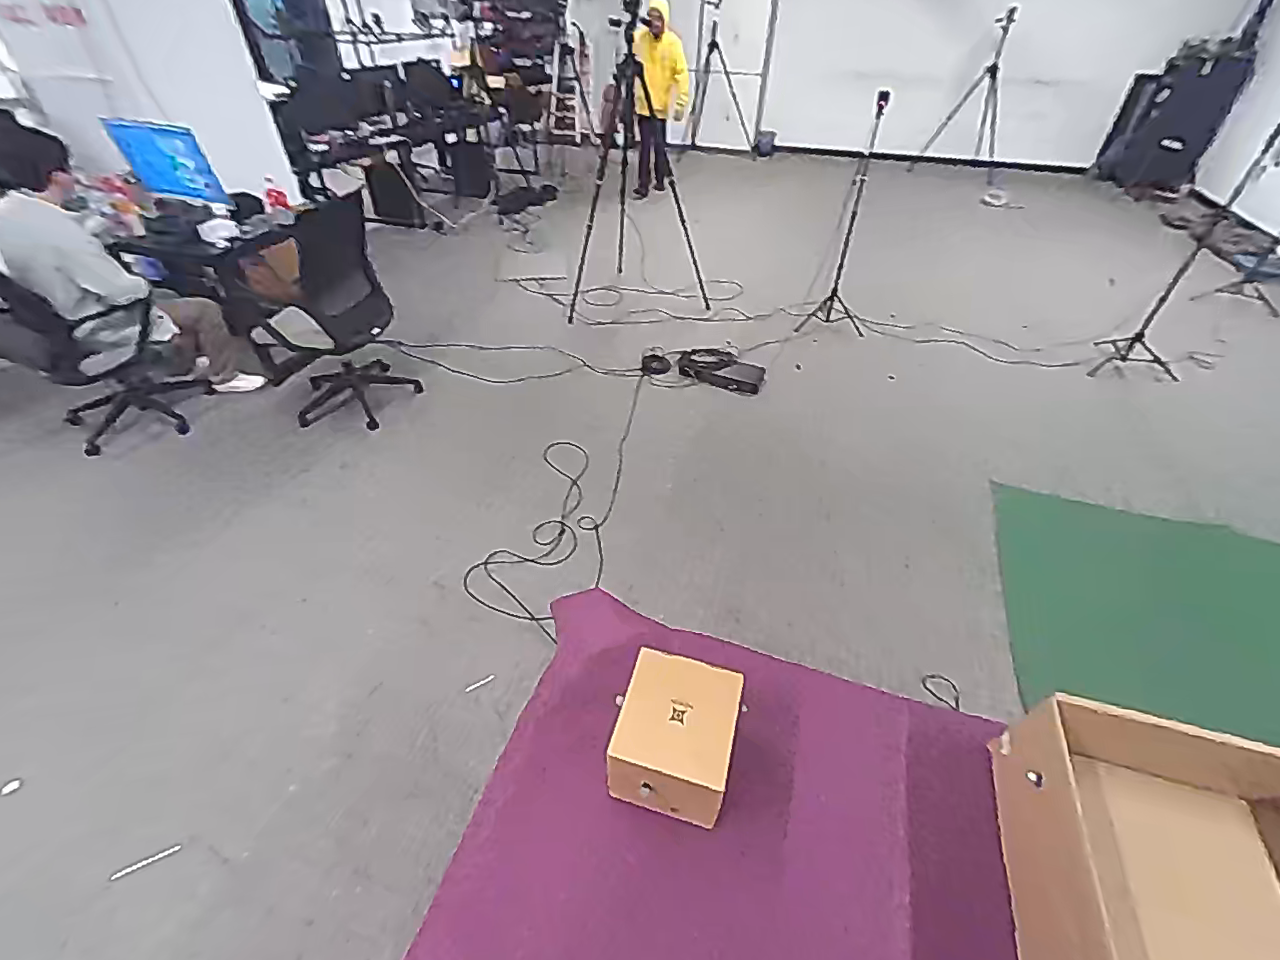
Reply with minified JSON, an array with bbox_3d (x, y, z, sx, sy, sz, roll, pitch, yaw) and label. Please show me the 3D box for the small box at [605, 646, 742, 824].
[{"bbox_3d":[0.054,0.395,0.836,0.168,0.176,0.179,12,42,12],"label":"small box"}]
